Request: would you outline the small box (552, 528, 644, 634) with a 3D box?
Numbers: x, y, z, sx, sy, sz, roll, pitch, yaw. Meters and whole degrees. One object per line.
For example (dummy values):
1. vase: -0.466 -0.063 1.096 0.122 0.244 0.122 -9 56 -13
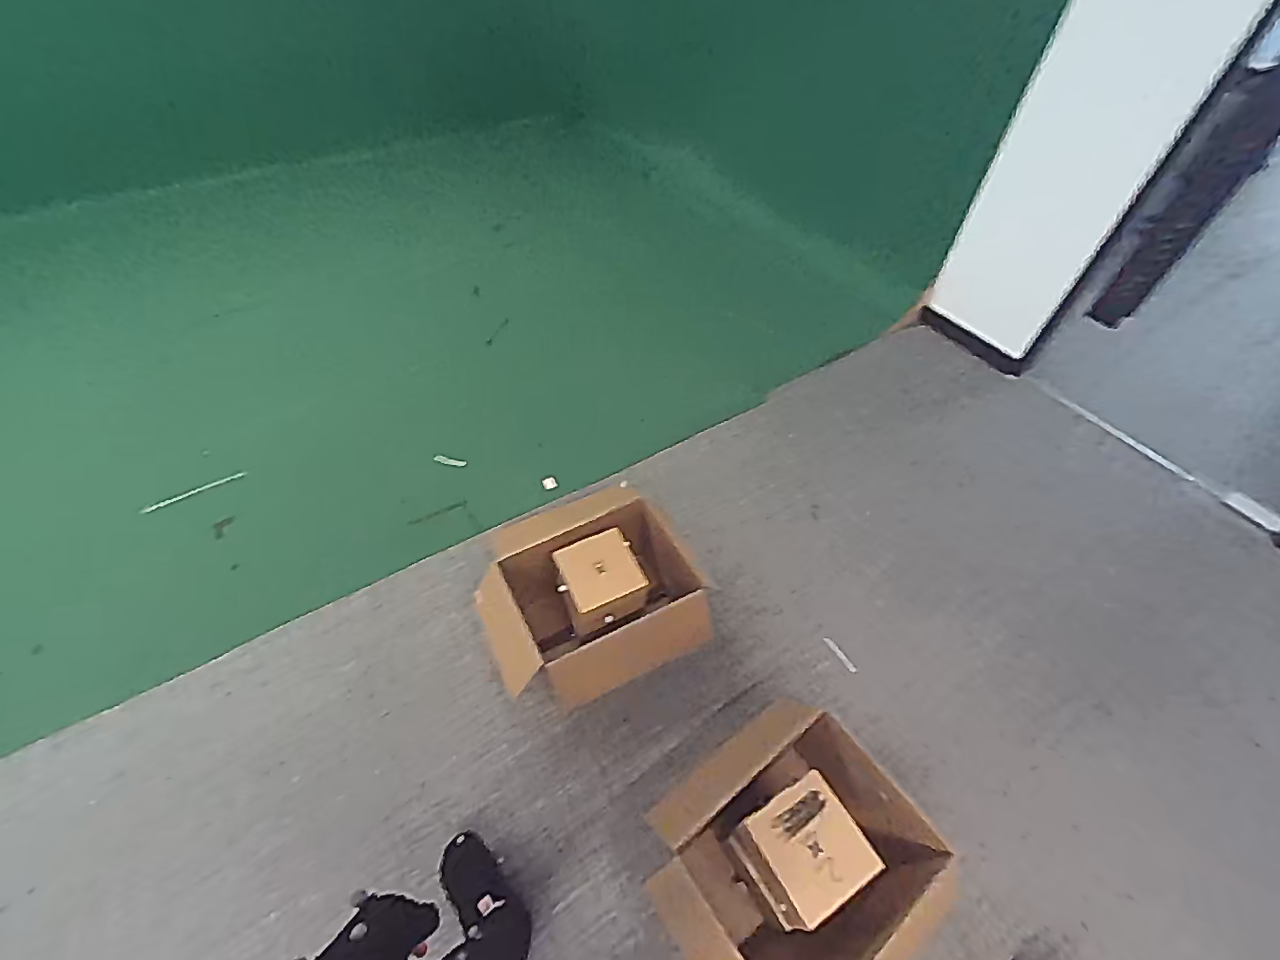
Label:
1. small box: -0.101 0.255 1.326 0.168 0.176 0.179 -21 56 -18
